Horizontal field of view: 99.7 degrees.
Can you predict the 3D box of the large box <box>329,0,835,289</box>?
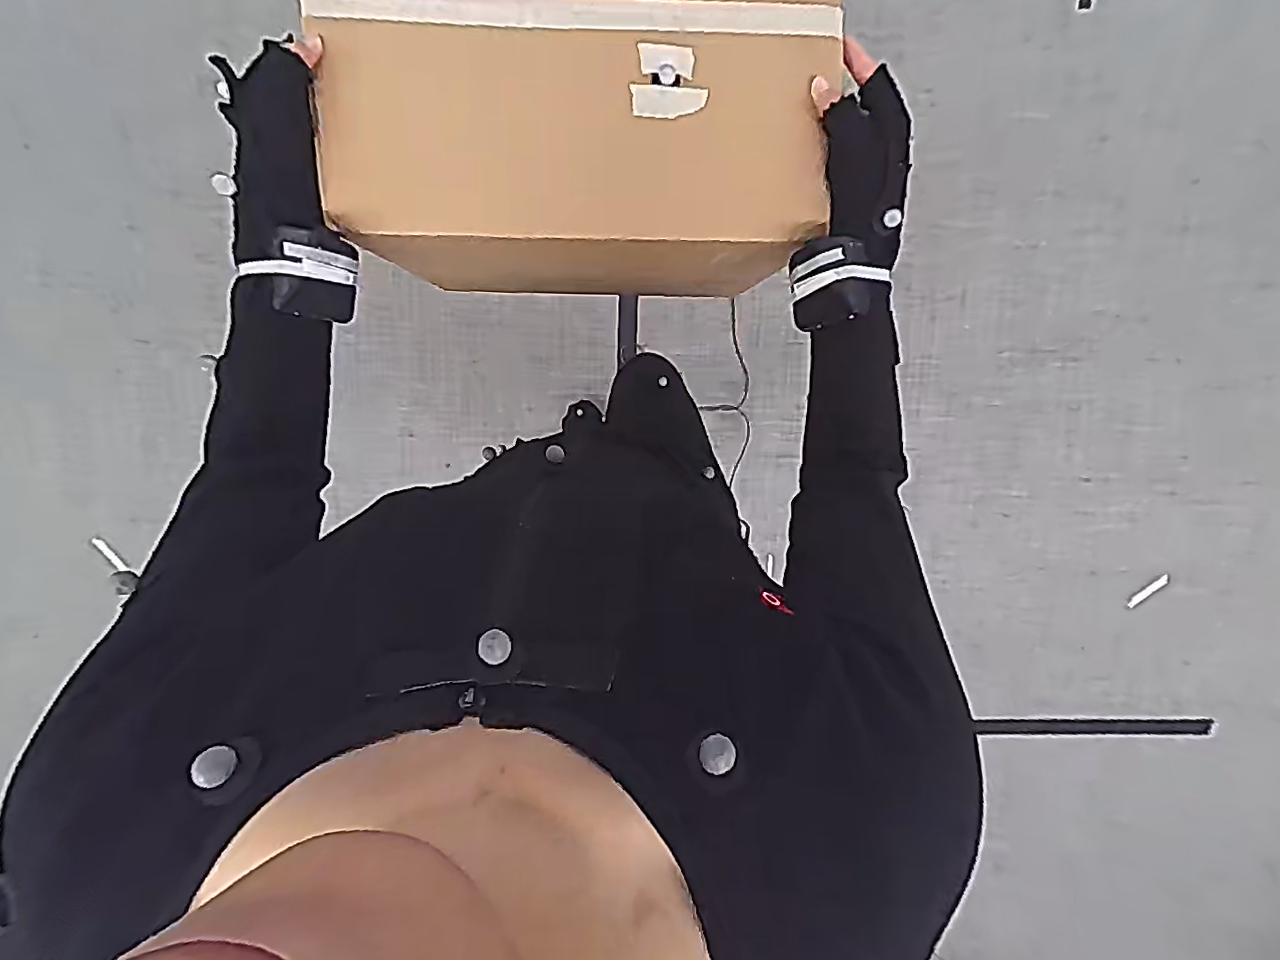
[{"bbox_3d":[-0.052,-0.389,0.571,0.408,0.320,0.320,-1,102,-4],"label":"large box"}]
